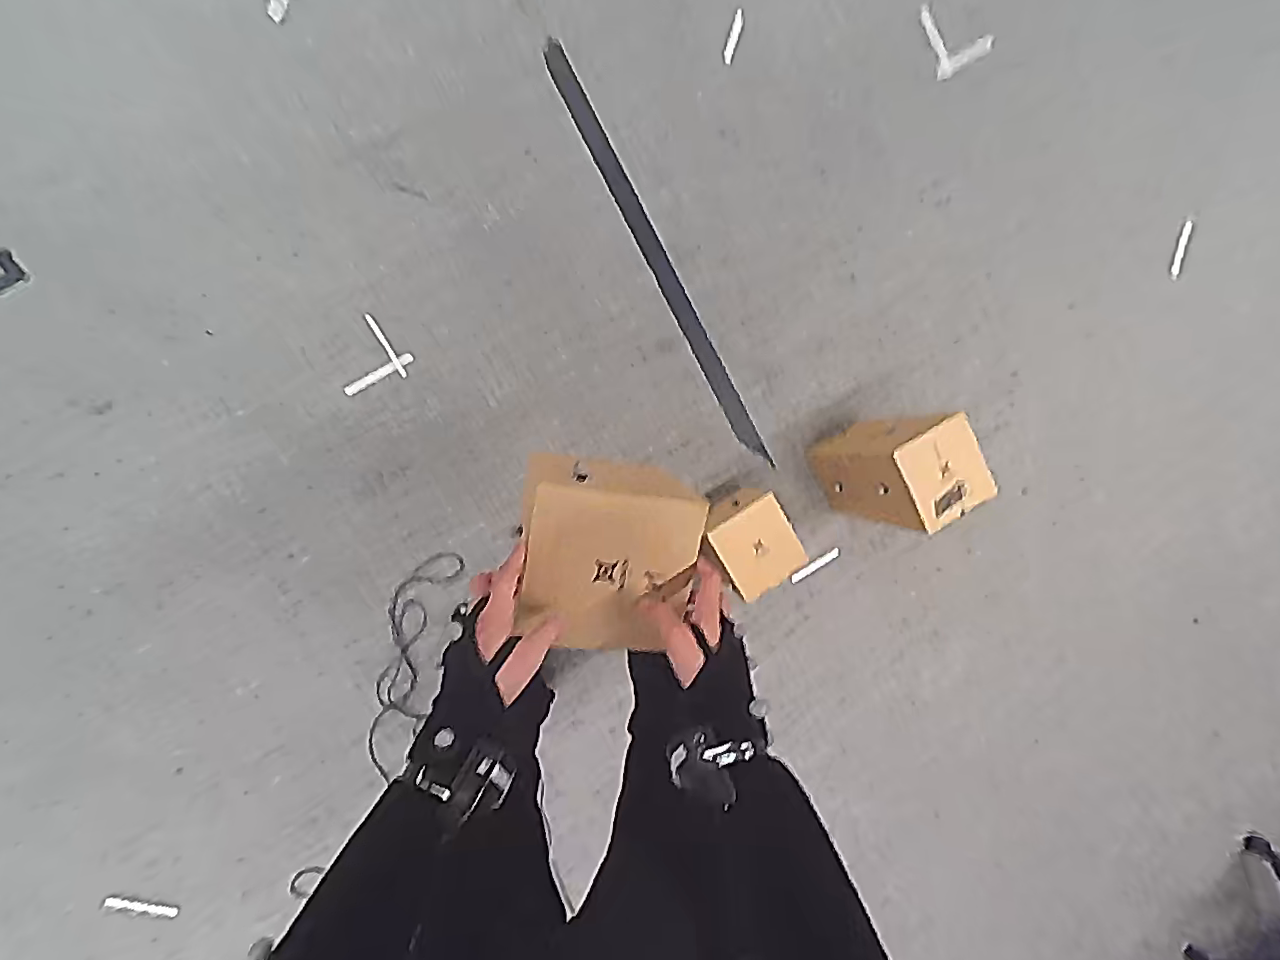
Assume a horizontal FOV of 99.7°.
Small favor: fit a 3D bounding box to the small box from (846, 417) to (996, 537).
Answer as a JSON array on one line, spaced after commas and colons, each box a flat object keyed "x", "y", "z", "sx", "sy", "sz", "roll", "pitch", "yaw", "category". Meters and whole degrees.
[{"x": 0.550, "y": -0.011, "z": 1.078, "sx": 0.168, "sy": 0.176, "sz": 0.179, "roll": -29, "pitch": 97, "yaw": -8, "category": "small box"}]

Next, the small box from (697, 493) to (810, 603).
[{"x": 0.235, "y": 0.140, "z": 1.202, "sx": 0.168, "sy": 0.176, "sz": 0.179, "roll": -33, "pitch": 98, "yaw": -6, "category": "small box"}]

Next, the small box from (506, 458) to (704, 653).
[{"x": -0.052, "y": 0.075, "z": 0.608, "sx": 0.179, "sy": 0.176, "sz": 0.168, "roll": 8, "pitch": 101, "yaw": -16, "category": "small box"}]
